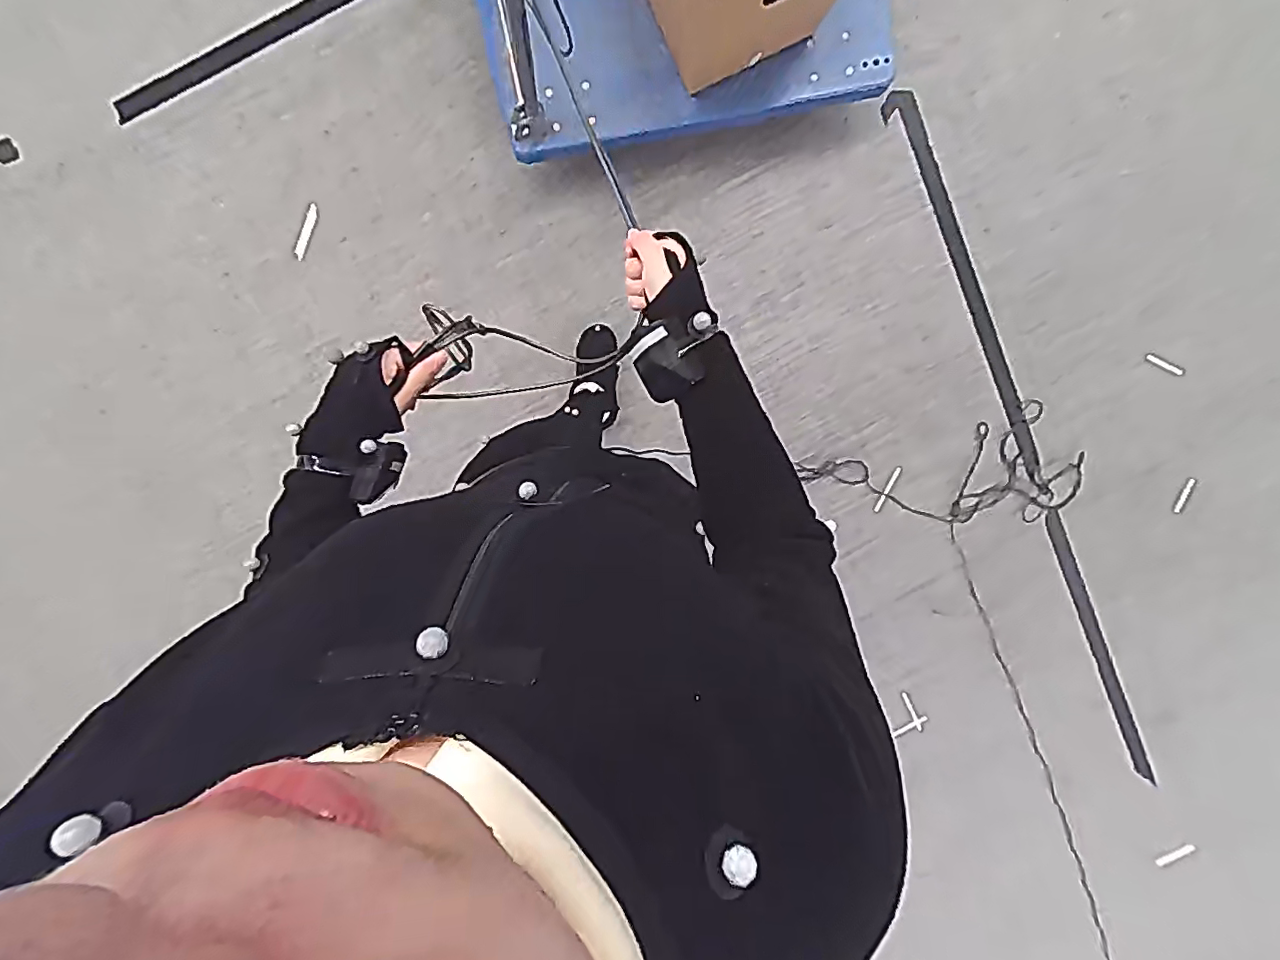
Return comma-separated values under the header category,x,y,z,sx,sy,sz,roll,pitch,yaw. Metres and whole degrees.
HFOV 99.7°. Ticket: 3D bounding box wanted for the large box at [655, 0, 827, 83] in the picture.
category,x,y,z,sx,sy,sz,roll,pitch,yaw
large box,0.166,-1.064,0.980,0.320,0.320,0.408,-26,101,2
